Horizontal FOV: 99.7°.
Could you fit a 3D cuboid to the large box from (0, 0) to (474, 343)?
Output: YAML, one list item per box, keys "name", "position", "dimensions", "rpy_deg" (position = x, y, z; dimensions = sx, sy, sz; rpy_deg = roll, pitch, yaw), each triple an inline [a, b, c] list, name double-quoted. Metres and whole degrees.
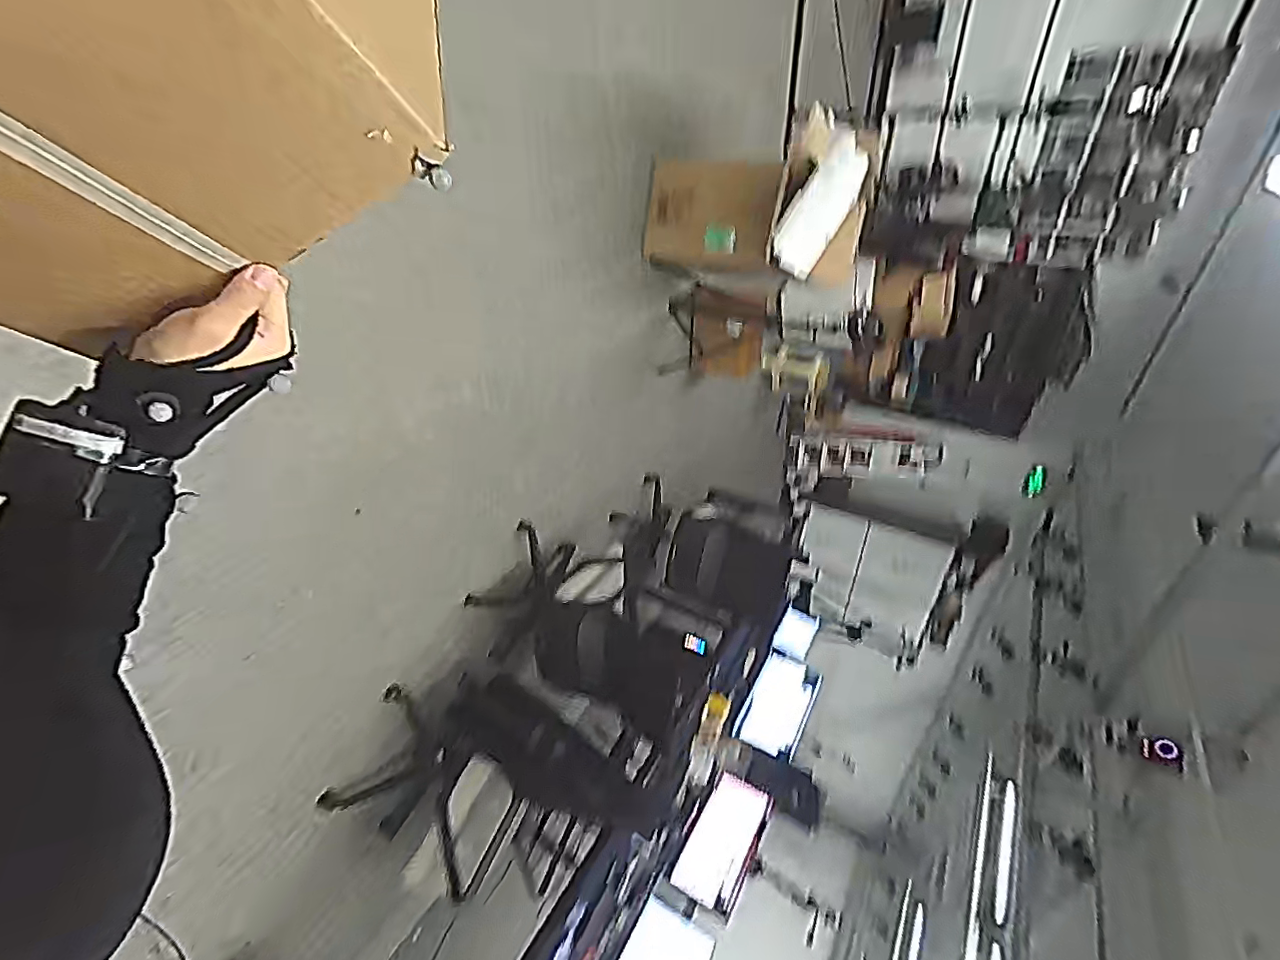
- name: "large box"
  position: [-0.339, -0.334, 0.228]
  dimensions: [0.408, 0.320, 0.320]
  rpy_deg: [30, 44, -60]
